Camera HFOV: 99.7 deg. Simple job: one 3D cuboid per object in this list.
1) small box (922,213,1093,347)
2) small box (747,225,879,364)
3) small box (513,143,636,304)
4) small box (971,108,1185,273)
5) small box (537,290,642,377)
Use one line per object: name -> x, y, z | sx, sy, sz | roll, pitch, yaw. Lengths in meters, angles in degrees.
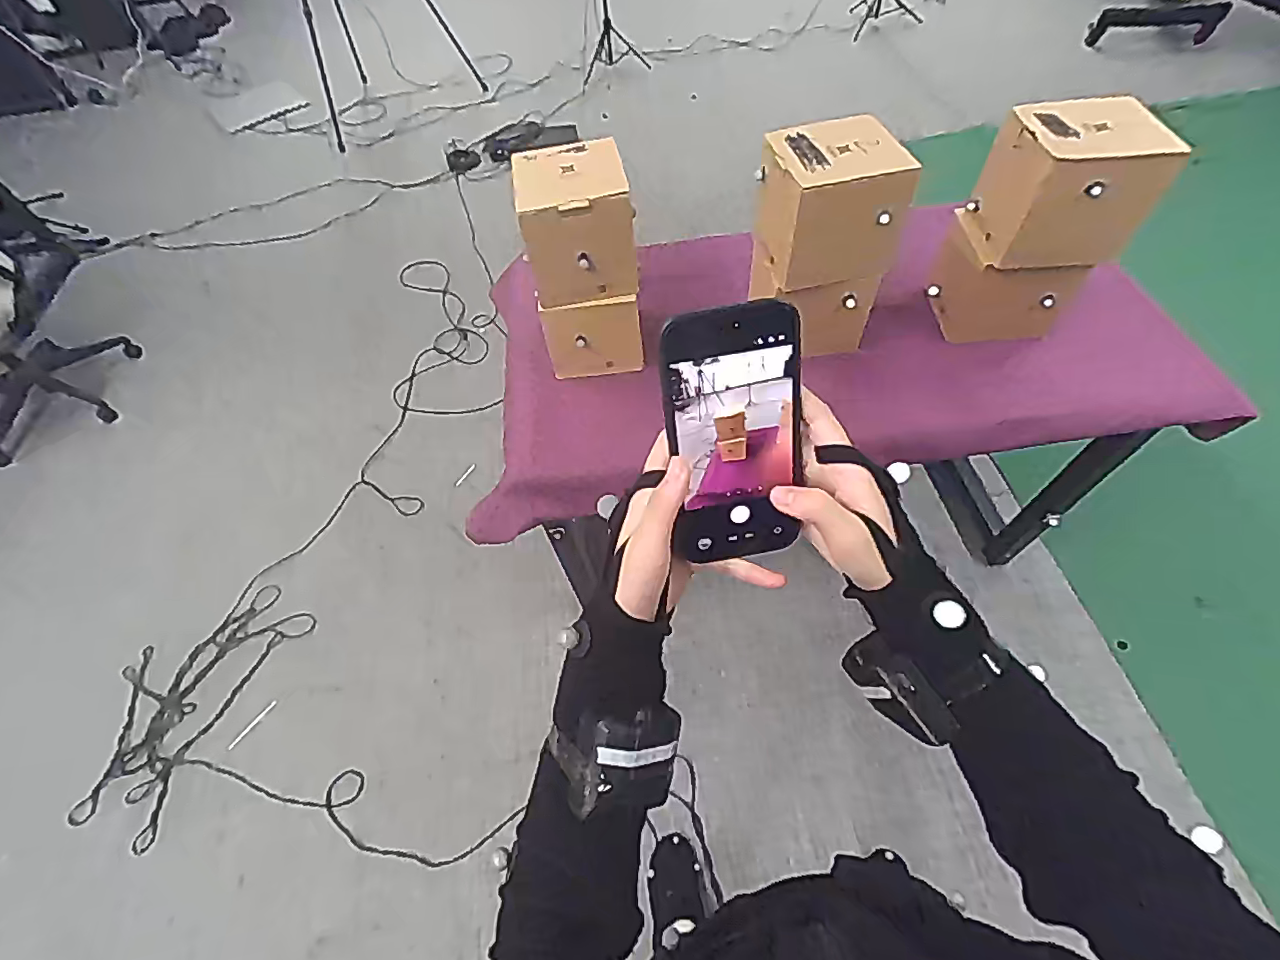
small box -> 0.641, -0.355, 0.968 | 0.179, 0.176, 0.168 | -1, 56, 5
small box -> 0.301, -0.332, 0.983 | 0.179, 0.176, 0.168 | -6, 56, 2
small box -> -0.102, -0.405, 0.875 | 0.168, 0.176, 0.179 | -10, 57, -1
small box -> 0.638, -0.434, 0.824 | 0.179, 0.176, 0.168 | -1, 56, 4
small box -> -0.088, -0.307, 1.006 | 0.168, 0.176, 0.179 | -6, 56, 2
